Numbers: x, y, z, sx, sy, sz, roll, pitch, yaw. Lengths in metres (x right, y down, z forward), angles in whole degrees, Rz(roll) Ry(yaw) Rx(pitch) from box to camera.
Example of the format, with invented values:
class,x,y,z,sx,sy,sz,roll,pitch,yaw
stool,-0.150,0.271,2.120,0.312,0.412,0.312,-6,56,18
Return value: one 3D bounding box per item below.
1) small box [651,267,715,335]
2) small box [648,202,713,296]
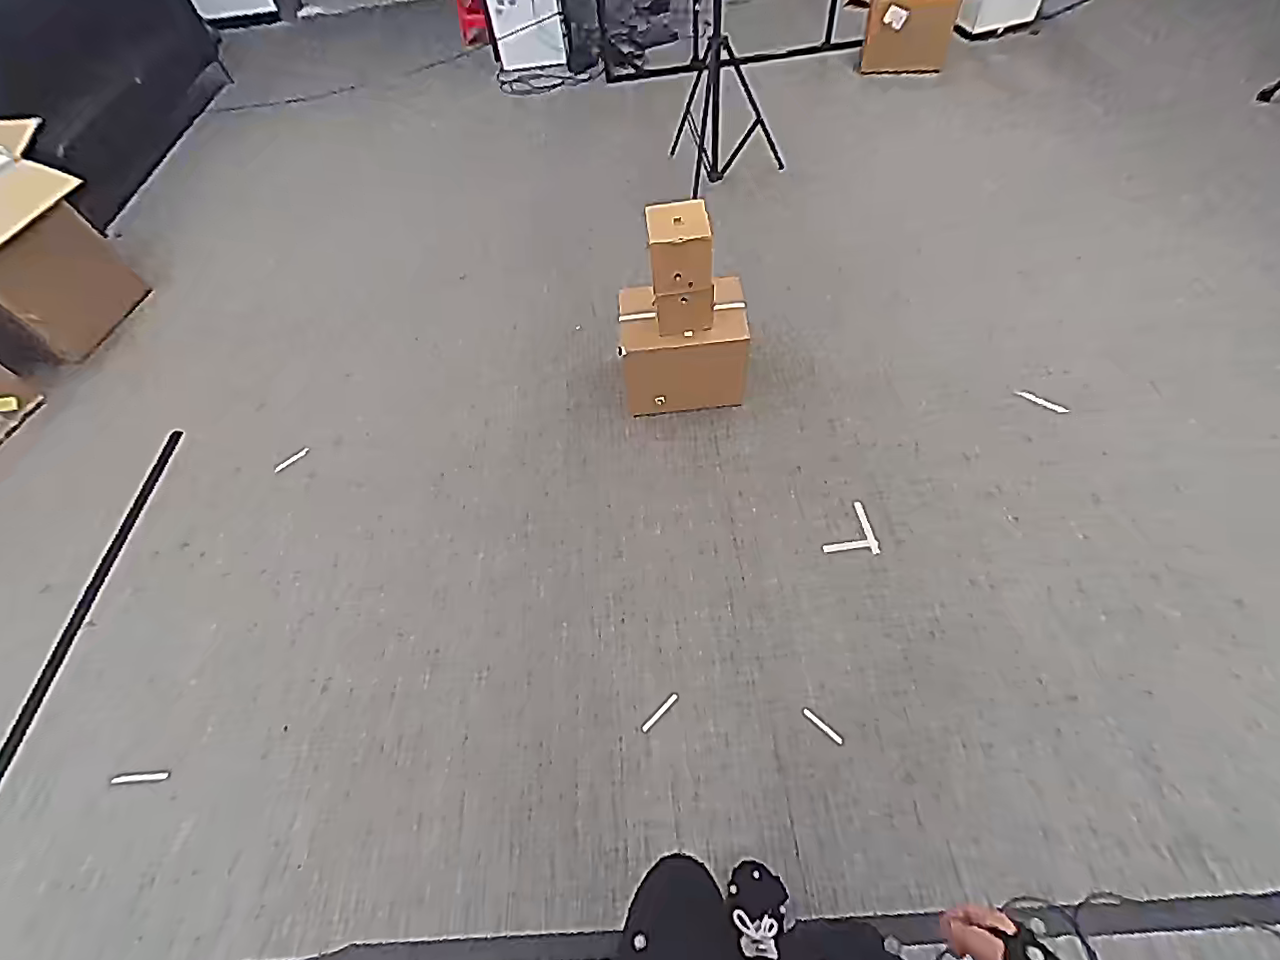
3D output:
class,x,y,z,sx,sy,sz,roll,pitch,yaw
small box,0.132,-0.568,1.667,0.179,0.176,0.168,-7,58,1
small box,0.112,-0.649,1.527,0.168,0.176,0.179,-7,58,3
